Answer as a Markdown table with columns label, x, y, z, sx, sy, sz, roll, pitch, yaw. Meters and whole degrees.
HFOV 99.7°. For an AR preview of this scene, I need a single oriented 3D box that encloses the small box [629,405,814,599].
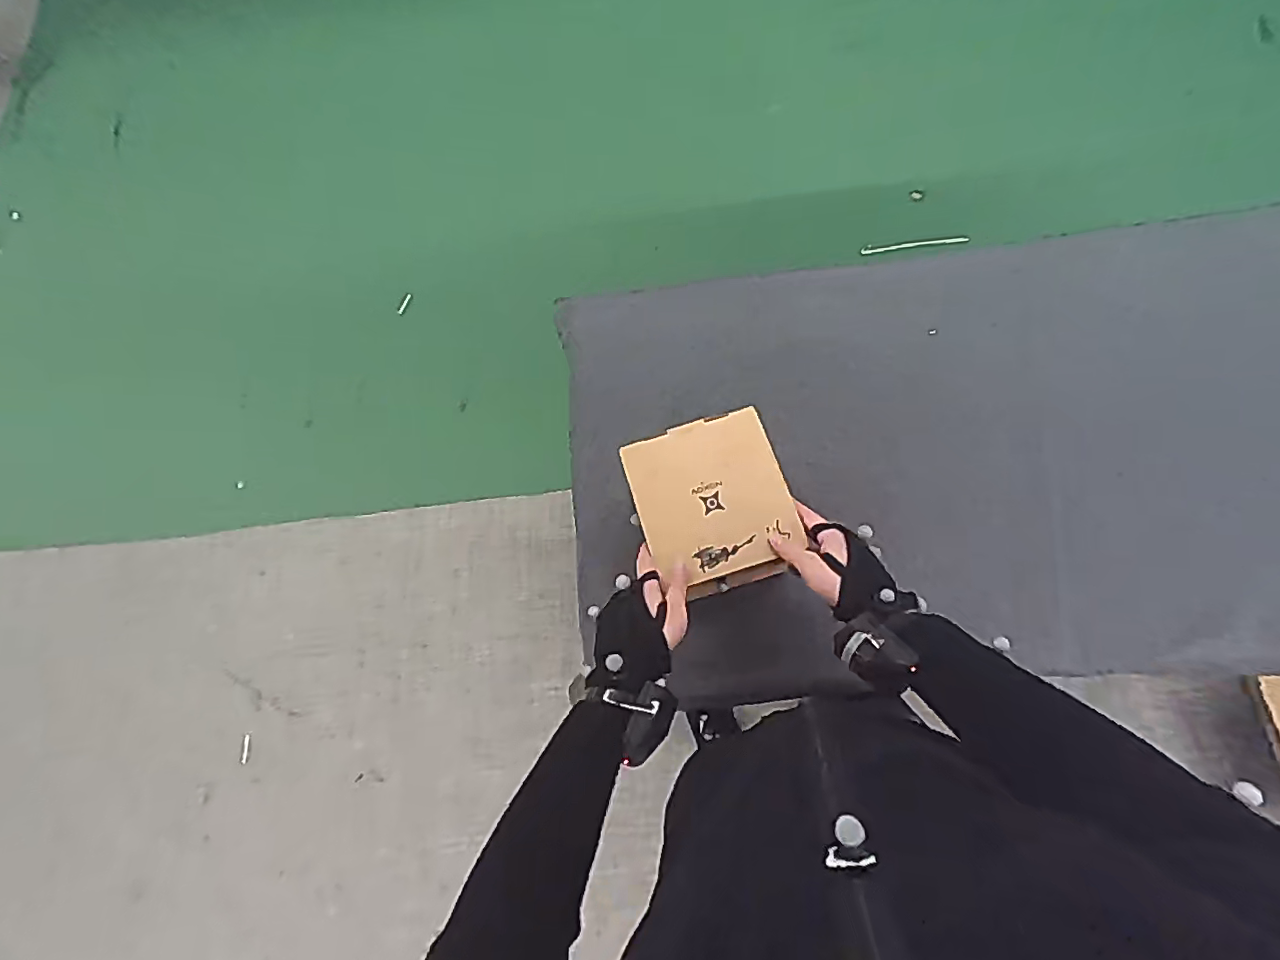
| label | x | y | z | sx | sy | sz | roll | pitch | yaw |
| --- | --- | --- | --- | --- | --- | --- | --- | --- | --- |
| small box | 0.091 | 0.037 | 0.673 | 0.168 | 0.176 | 0.179 | -17 | 72 | 1 |
